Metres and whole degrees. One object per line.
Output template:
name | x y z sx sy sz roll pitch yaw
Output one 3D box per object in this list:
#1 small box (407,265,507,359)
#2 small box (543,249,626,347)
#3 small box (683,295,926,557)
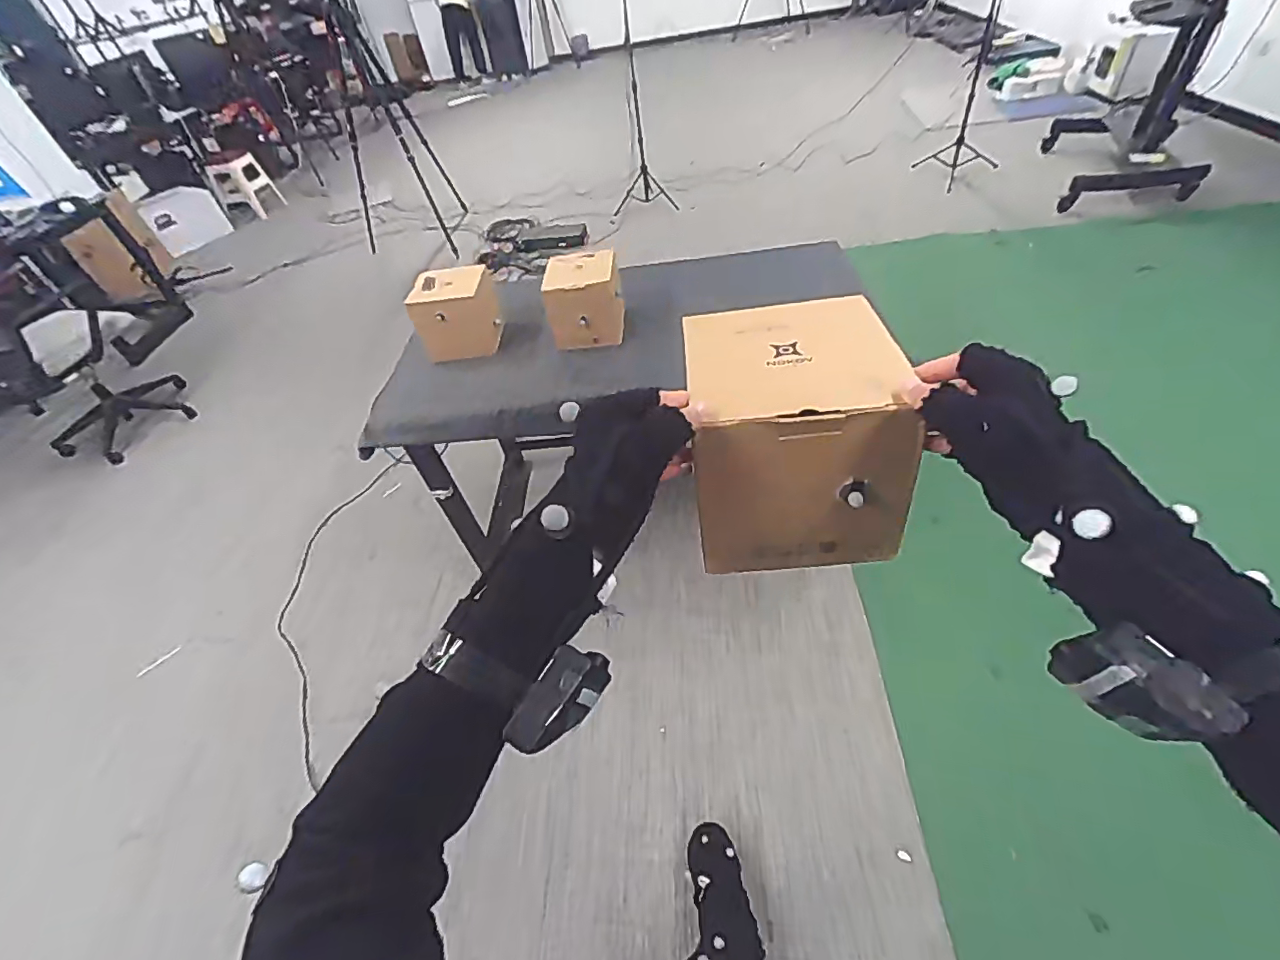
small box | -0.457 -0.425 1.382 0.179 0.176 0.168 -5 47 4
small box | -0.129 -0.445 1.343 0.168 0.176 0.179 -4 47 6
small box | 0.130 -0.044 0.488 0.168 0.176 0.179 -5 40 6
